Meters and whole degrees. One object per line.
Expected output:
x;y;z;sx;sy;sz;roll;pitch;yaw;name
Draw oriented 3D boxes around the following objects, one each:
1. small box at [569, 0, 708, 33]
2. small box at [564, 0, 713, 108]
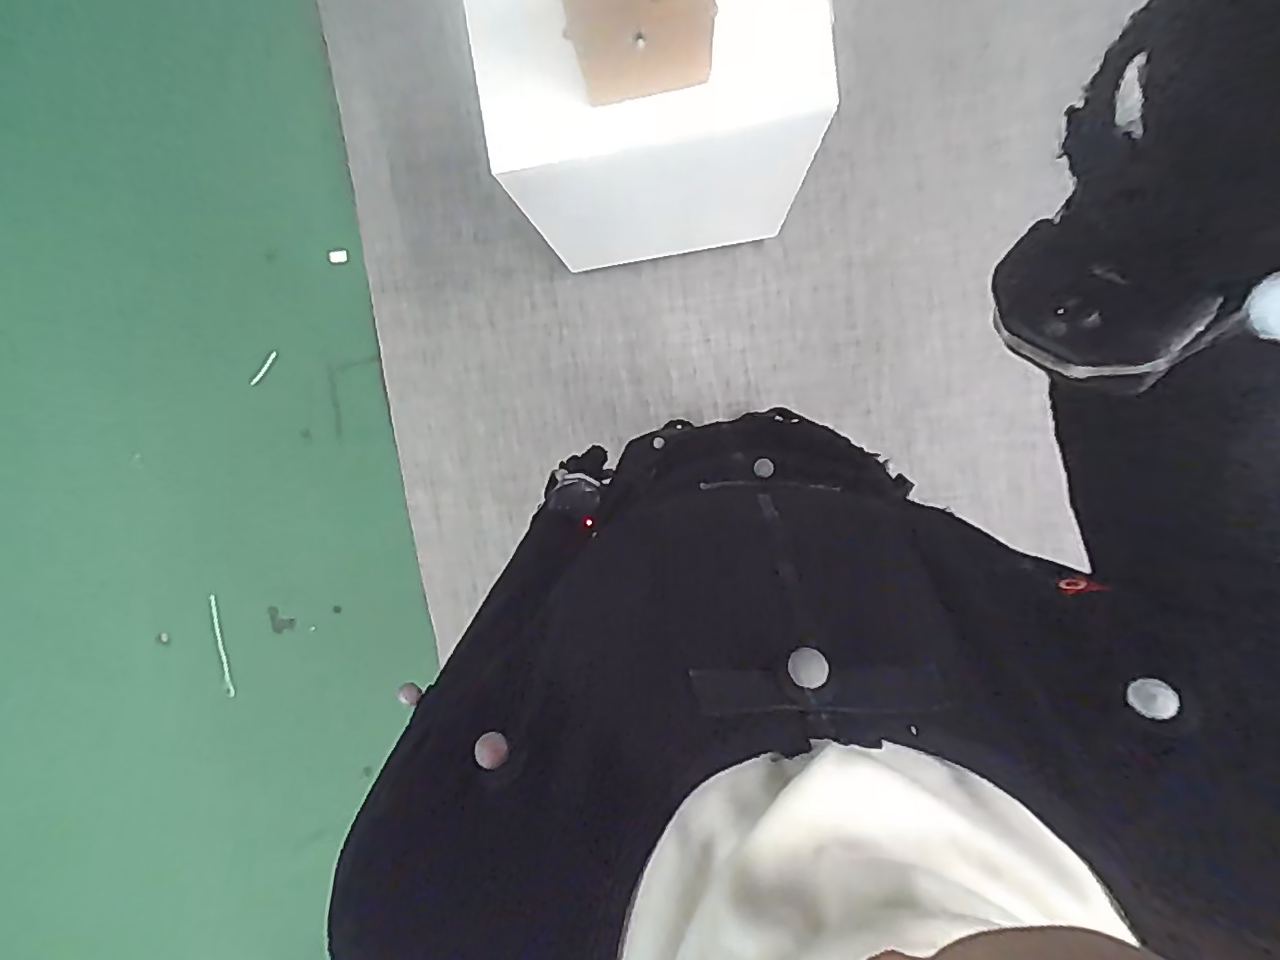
-0.015;-0.608;0.538;0.168;0.176;0.179;-9;96;5;small box
-0.002;-0.621;0.698;0.179;0.176;0.168;-8;96;5;small box
